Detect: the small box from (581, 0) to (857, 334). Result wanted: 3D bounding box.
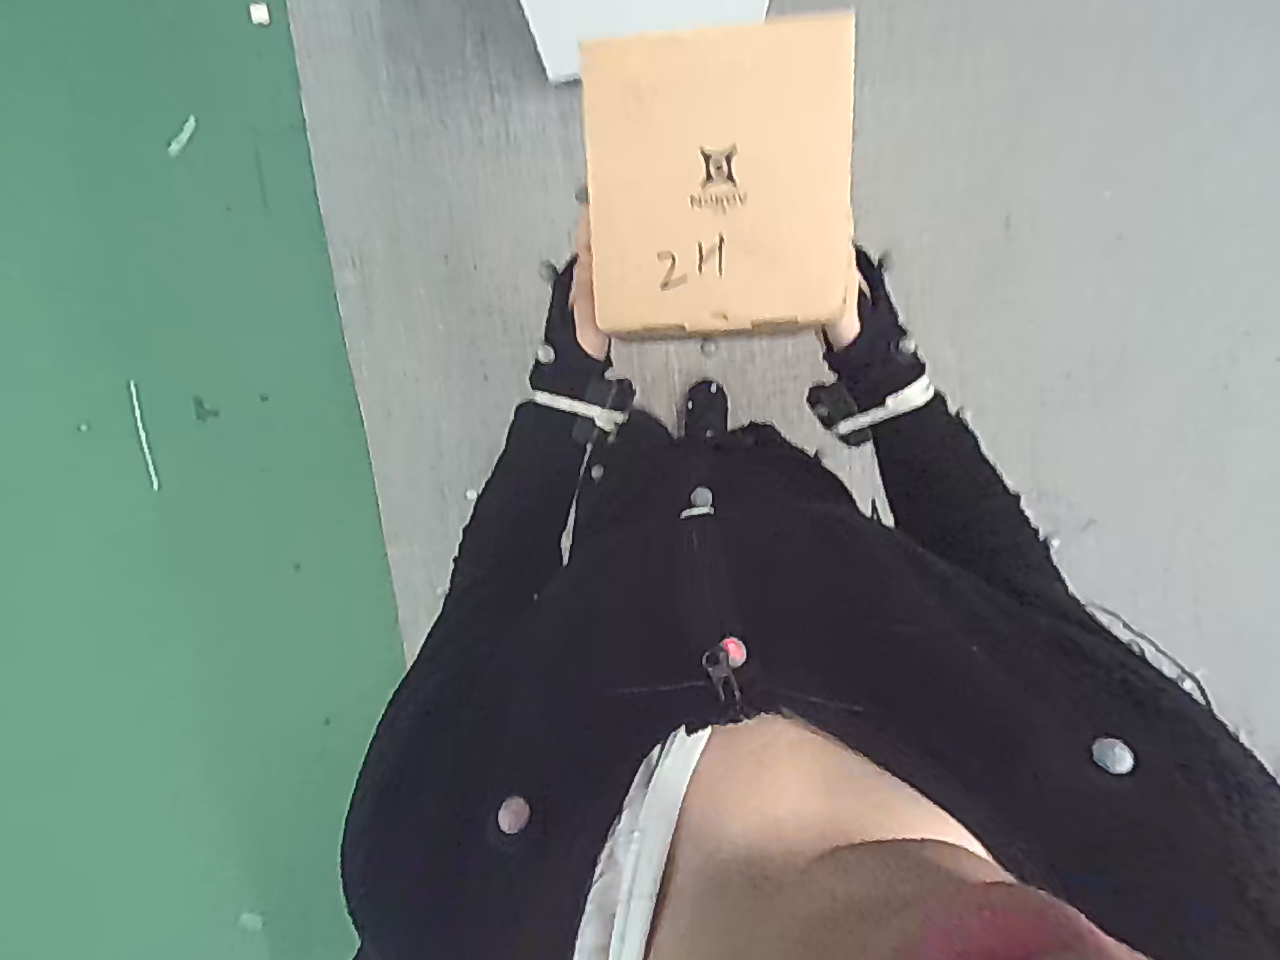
[{"bbox_3d":[0.054,-0.211,0.411,0.168,0.176,0.179,-2,101,6],"label":"small box"}]
